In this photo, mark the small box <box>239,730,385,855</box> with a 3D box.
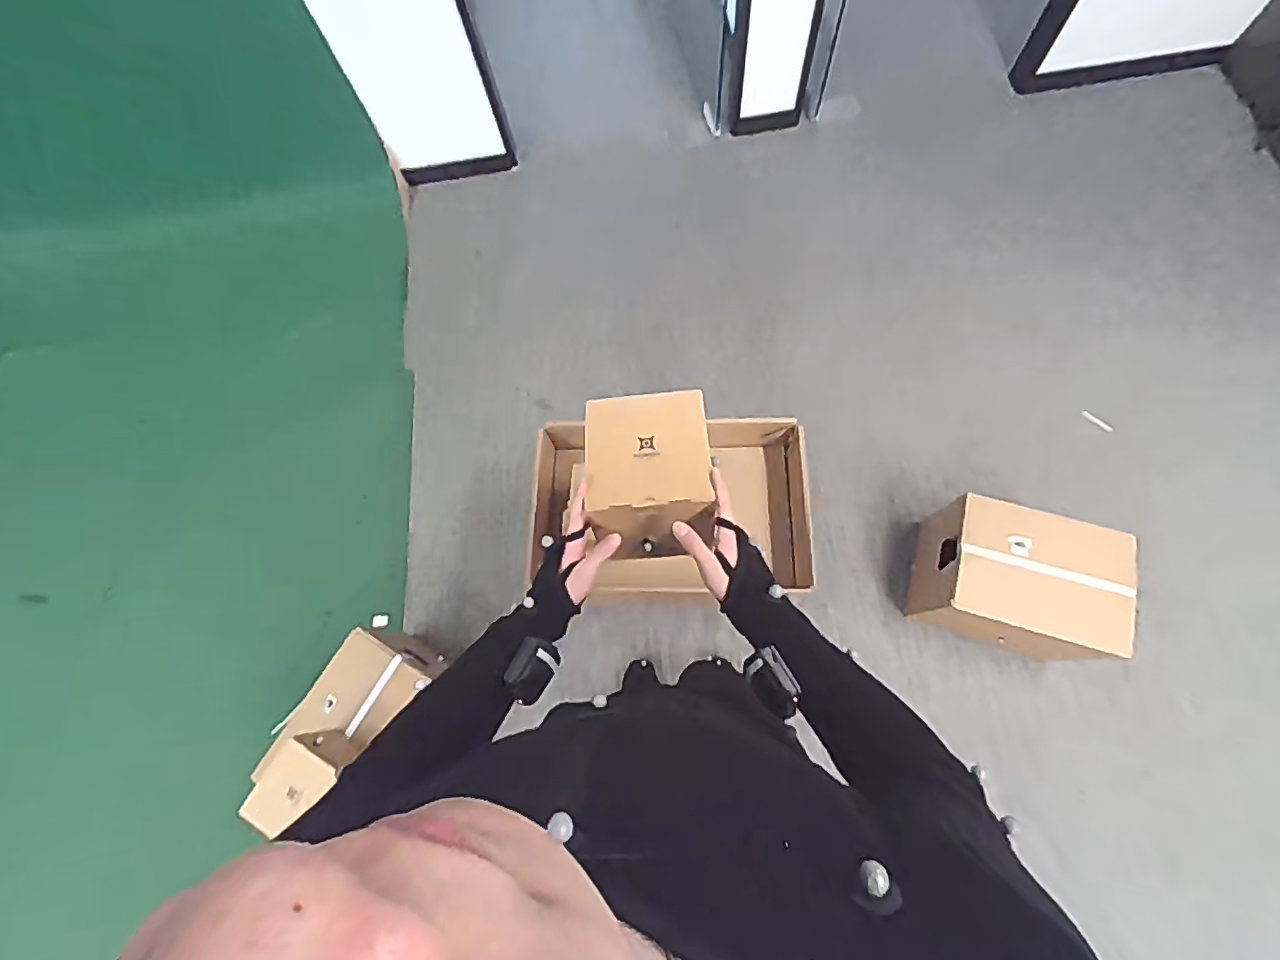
[{"bbox_3d":[-0.709,0.672,1.189,0.179,0.176,0.168,27,75,11],"label":"small box"}]

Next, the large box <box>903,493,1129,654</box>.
[{"bbox_3d":[0.999,0.267,1.475,0.408,0.320,0.320,15,72,10],"label":"large box"}]

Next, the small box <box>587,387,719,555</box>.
[{"bbox_3d":[0.017,-0.008,0.772,0.168,0.176,0.179,-5,60,2],"label":"small box"}]
